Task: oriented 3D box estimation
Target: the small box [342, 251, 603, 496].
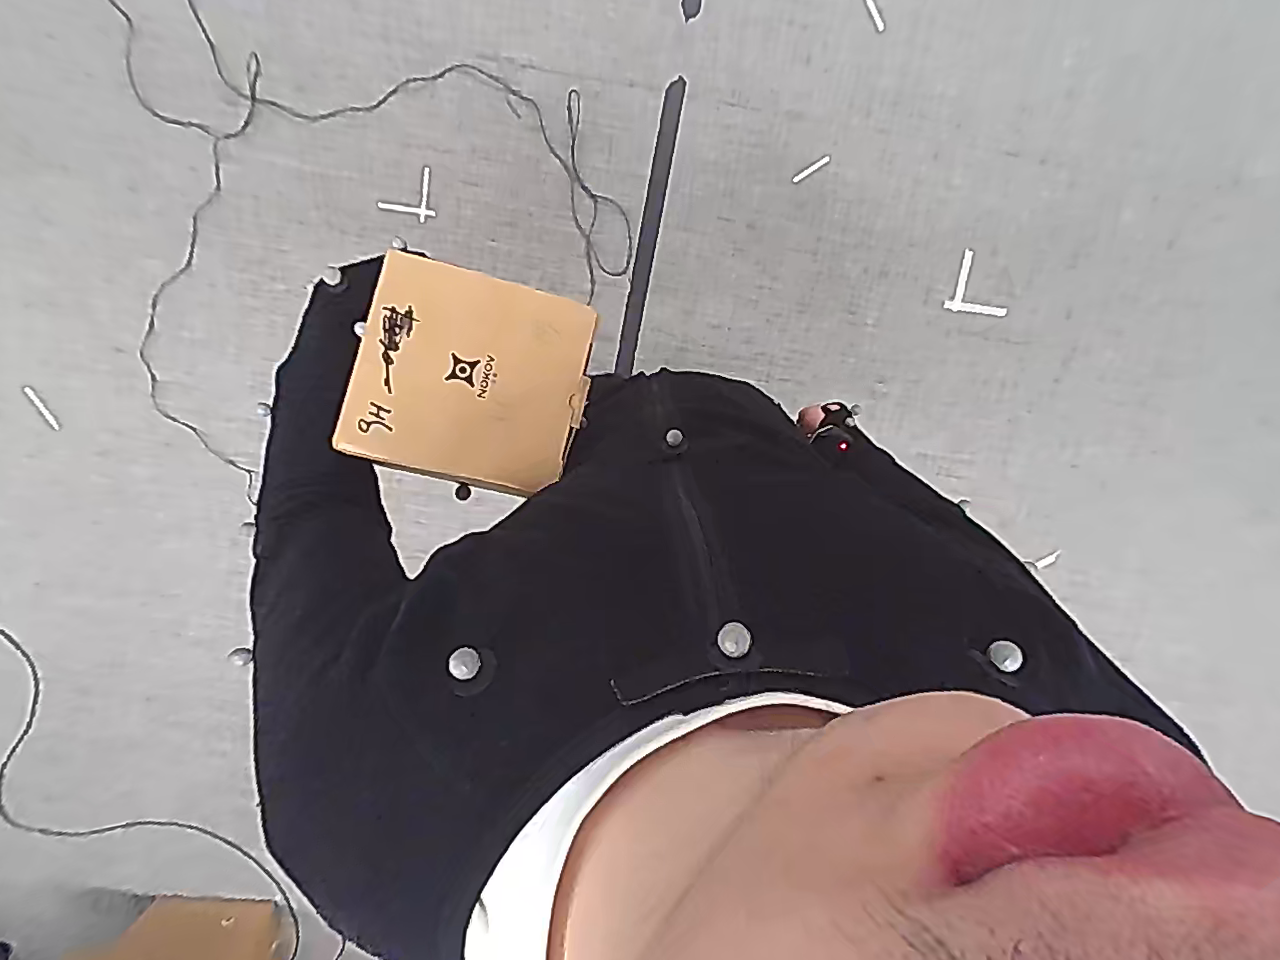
[{"bbox_3d":[-0.149,-0.082,0.521,0.179,0.176,0.168,14,83,-12],"label":"small box"}]
